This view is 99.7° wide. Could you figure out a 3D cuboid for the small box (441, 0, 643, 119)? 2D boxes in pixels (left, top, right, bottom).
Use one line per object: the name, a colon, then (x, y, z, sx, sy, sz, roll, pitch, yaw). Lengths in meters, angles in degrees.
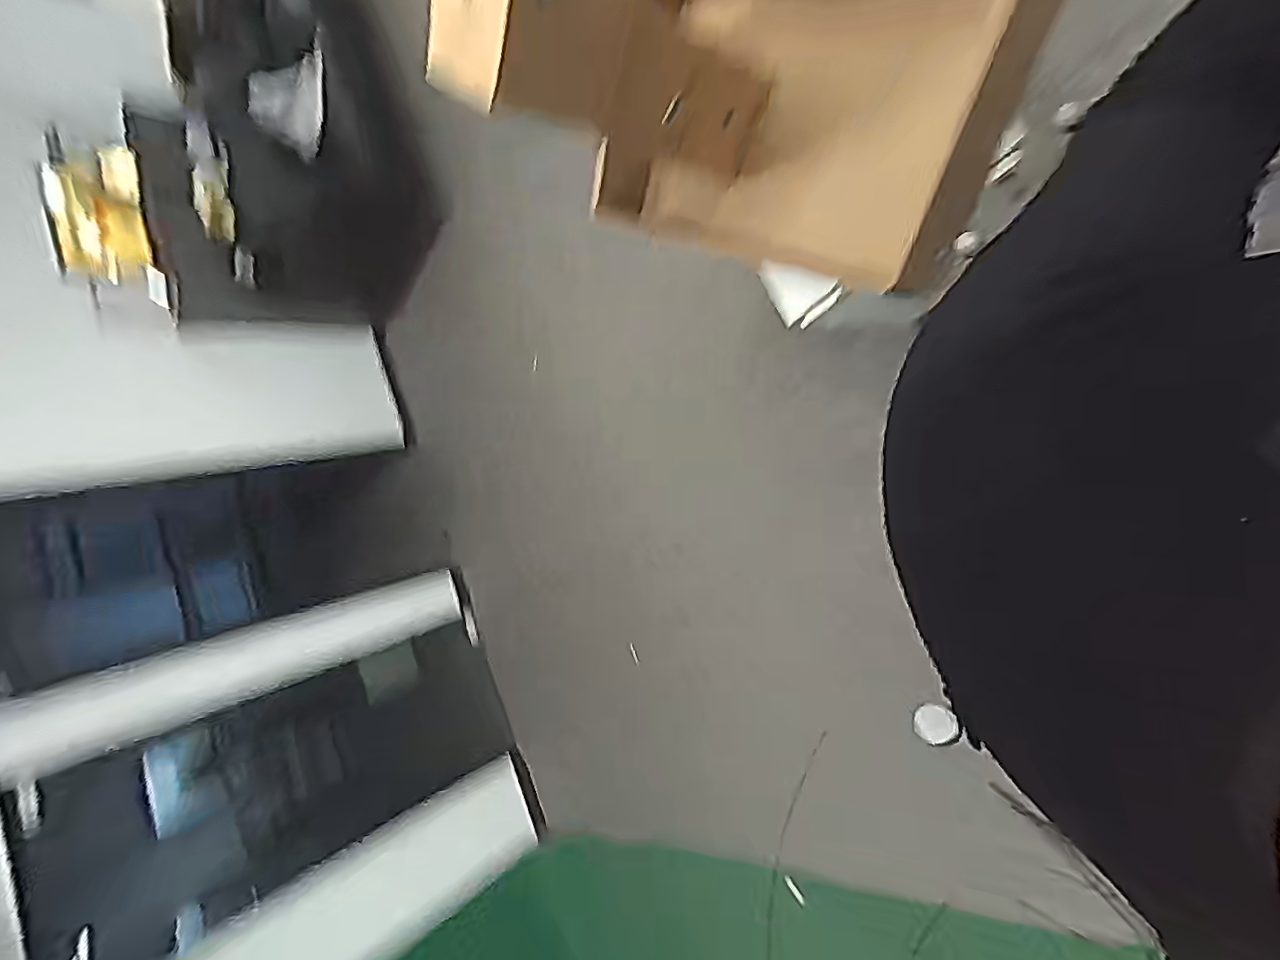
small box: (-0.116, -0.578, 0.658, 0.168, 0.176, 0.179, 46, 132, 27)
